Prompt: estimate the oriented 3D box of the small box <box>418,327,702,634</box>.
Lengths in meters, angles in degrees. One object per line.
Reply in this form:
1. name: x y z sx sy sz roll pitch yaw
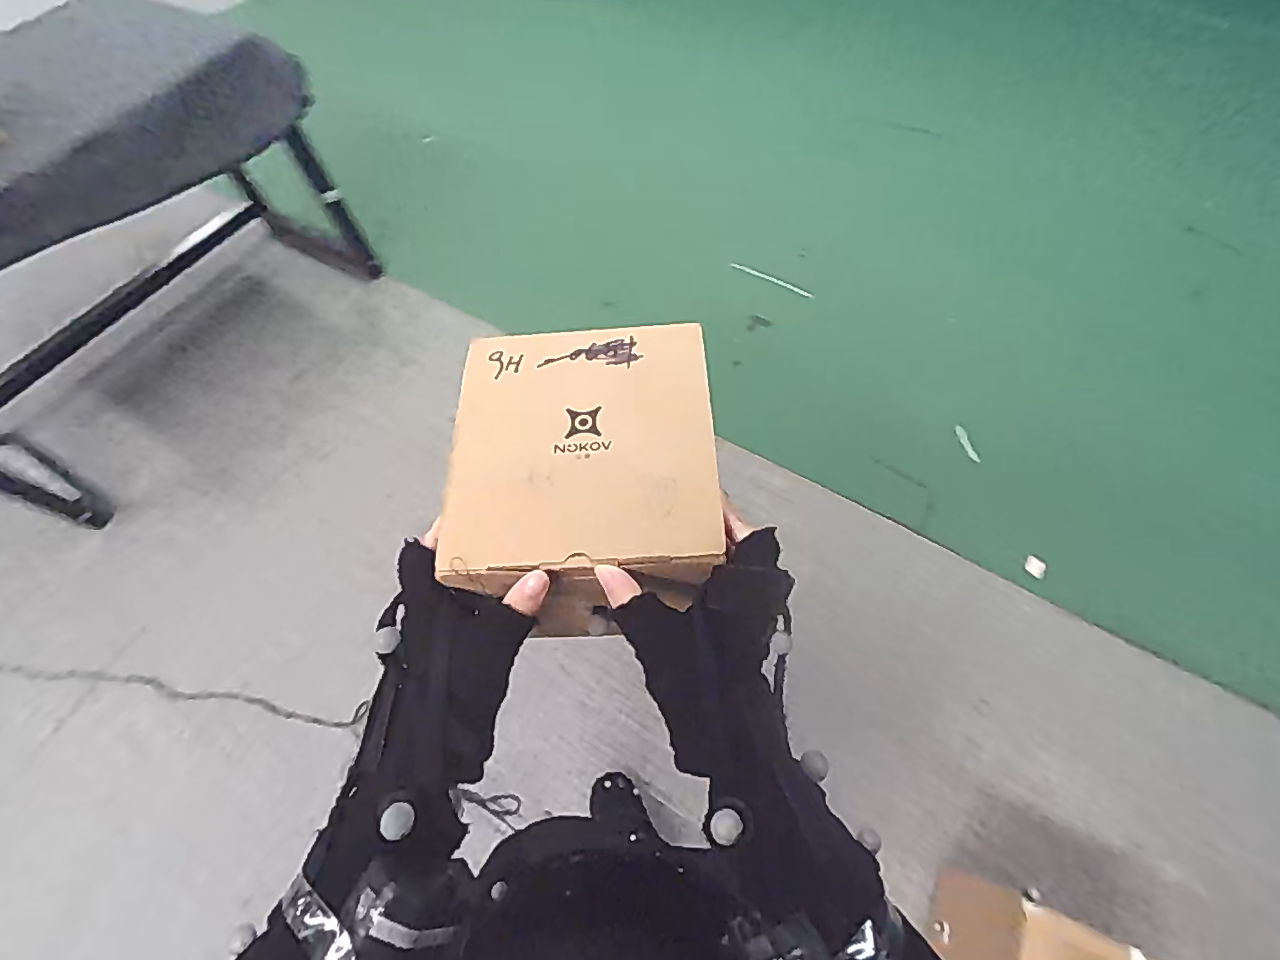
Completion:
1. small box: -0.041 0.014 0.406 0.168 0.176 0.179 -4 62 3
